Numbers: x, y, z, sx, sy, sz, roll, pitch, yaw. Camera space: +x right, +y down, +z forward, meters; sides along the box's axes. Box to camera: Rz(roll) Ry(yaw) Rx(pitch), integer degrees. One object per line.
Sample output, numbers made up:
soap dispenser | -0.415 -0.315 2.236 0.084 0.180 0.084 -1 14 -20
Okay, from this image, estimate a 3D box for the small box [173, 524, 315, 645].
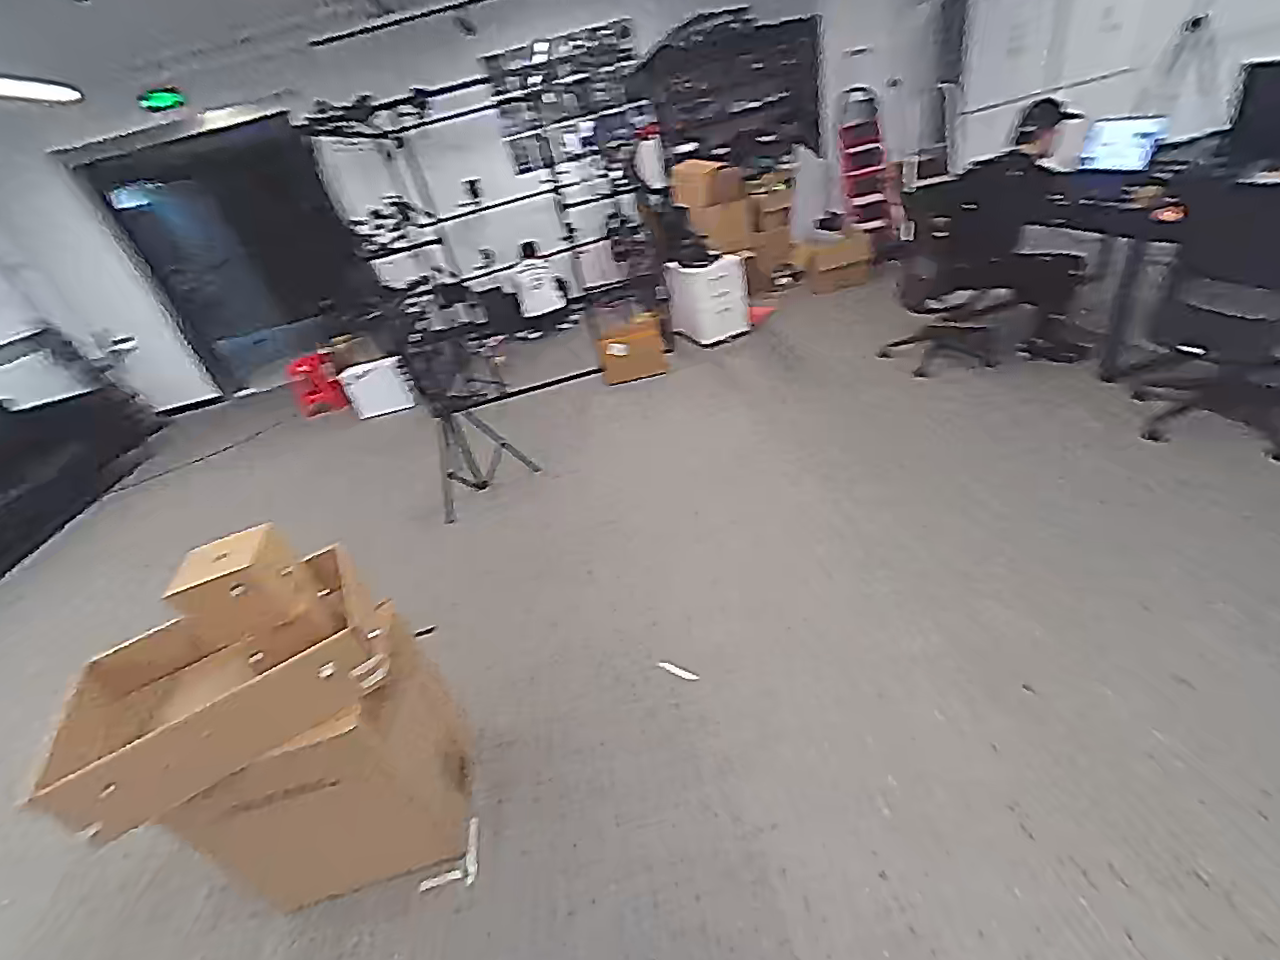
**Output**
small box | -0.869 0.233 1.212 0.179 0.176 0.168 -21 33 -7
